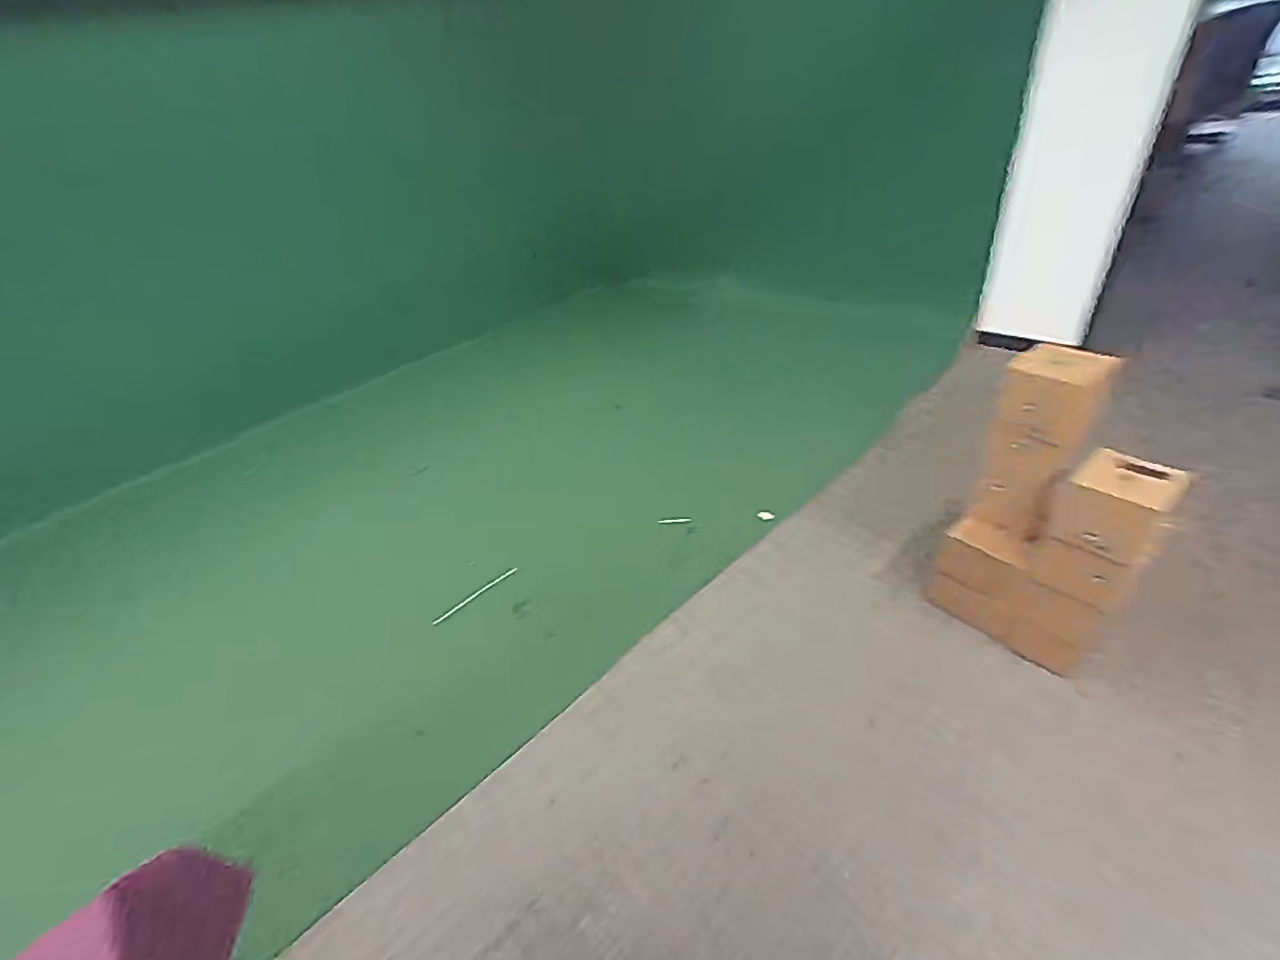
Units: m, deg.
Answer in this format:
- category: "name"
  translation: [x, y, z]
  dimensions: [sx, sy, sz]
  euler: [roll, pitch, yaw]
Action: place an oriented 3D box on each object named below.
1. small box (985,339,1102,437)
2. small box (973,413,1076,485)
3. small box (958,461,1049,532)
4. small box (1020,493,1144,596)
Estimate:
- category: "small box"
  translation: [1.012, -0.233, 1.372]
  dimensions: [0.179, 0.176, 0.168]
  euler: [-28, 40, -22]
- category: "small box"
  translation: [1.040, -0.108, 1.472]
  dimensions: [0.168, 0.176, 0.179]
  euler: [-33, 39, -28]
- category: "small box"
  translation: [1.062, 0.020, 1.578]
  dimensions: [0.179, 0.176, 0.168]
  euler: [-31, 41, -27]
- category: "small box"
  translation: [1.111, 0.167, 1.370]
  dimensions: [0.168, 0.176, 0.179]
  euler: [-33, 42, -28]
